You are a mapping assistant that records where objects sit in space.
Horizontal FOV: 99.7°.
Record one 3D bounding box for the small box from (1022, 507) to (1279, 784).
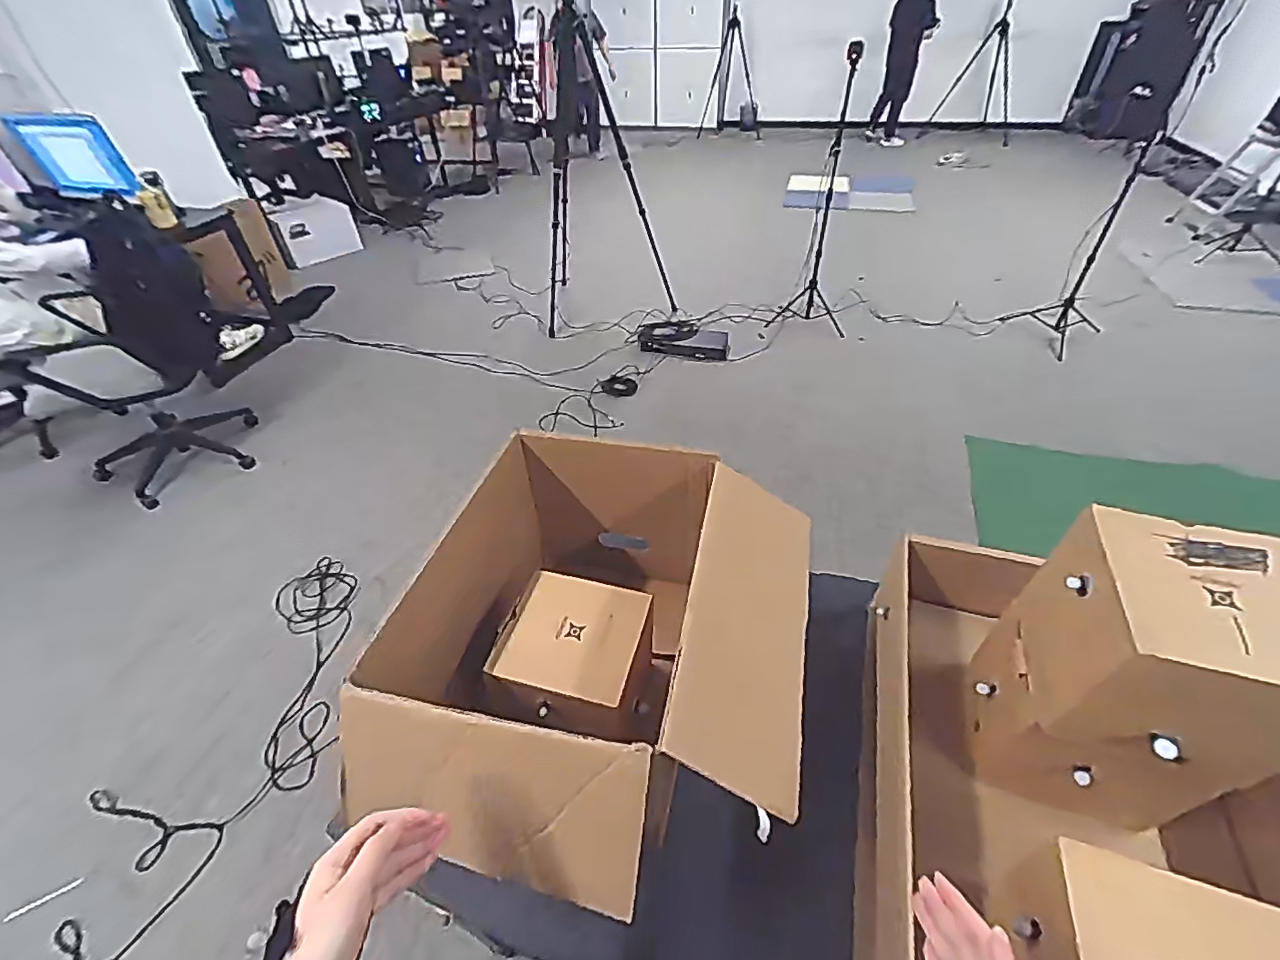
[{"bbox_3d":[0.507,0.159,0.530,0.168,0.176,0.179,11,46,16],"label":"small box"}]
